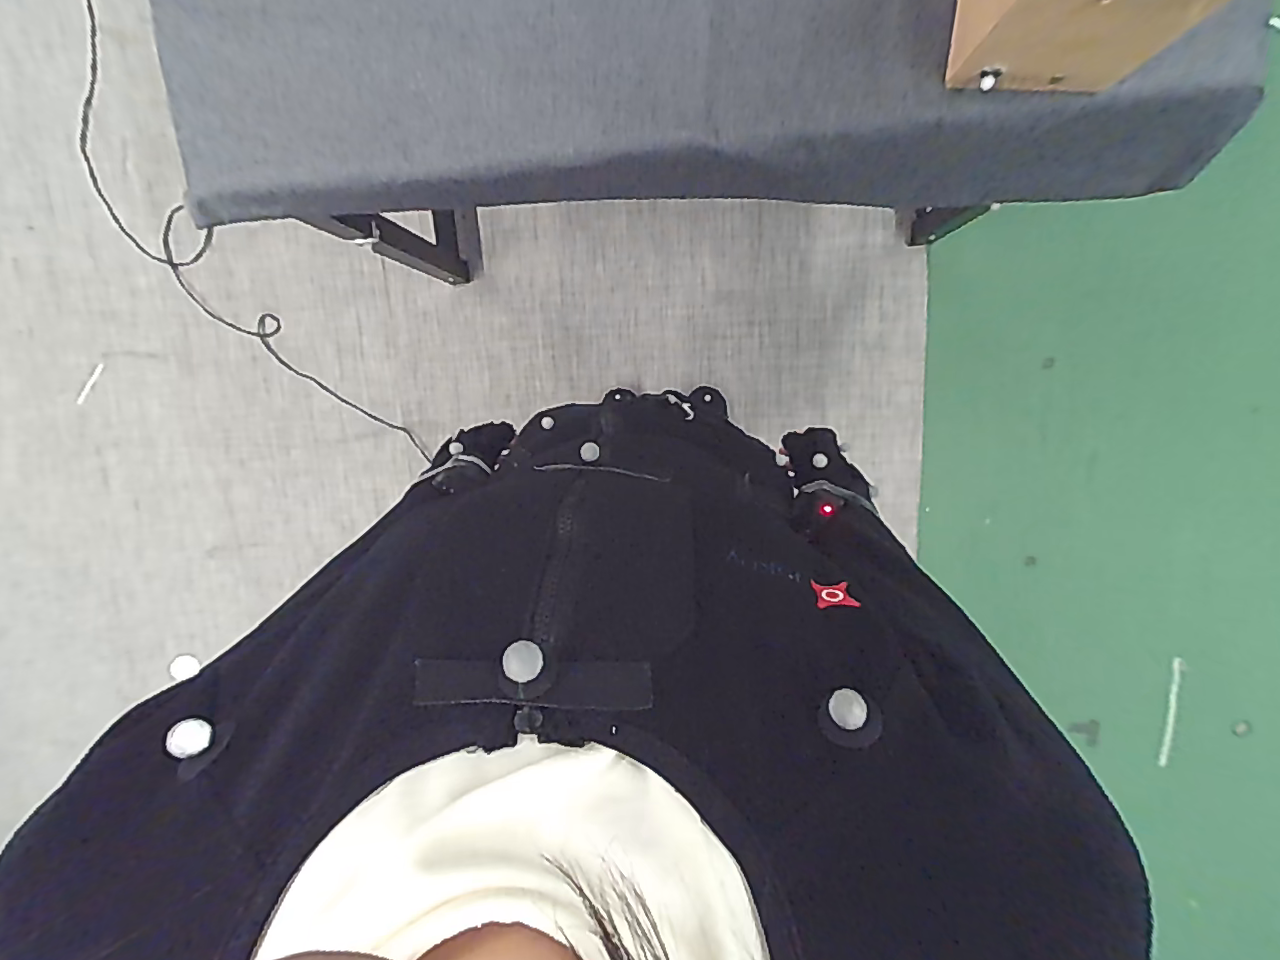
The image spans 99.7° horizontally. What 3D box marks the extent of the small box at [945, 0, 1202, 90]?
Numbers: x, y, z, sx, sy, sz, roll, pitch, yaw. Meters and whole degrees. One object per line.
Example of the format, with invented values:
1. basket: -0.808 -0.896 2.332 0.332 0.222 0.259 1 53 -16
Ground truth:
1. small box: 0.409 -0.495 0.495 0.168 0.176 0.179 5 99 4
